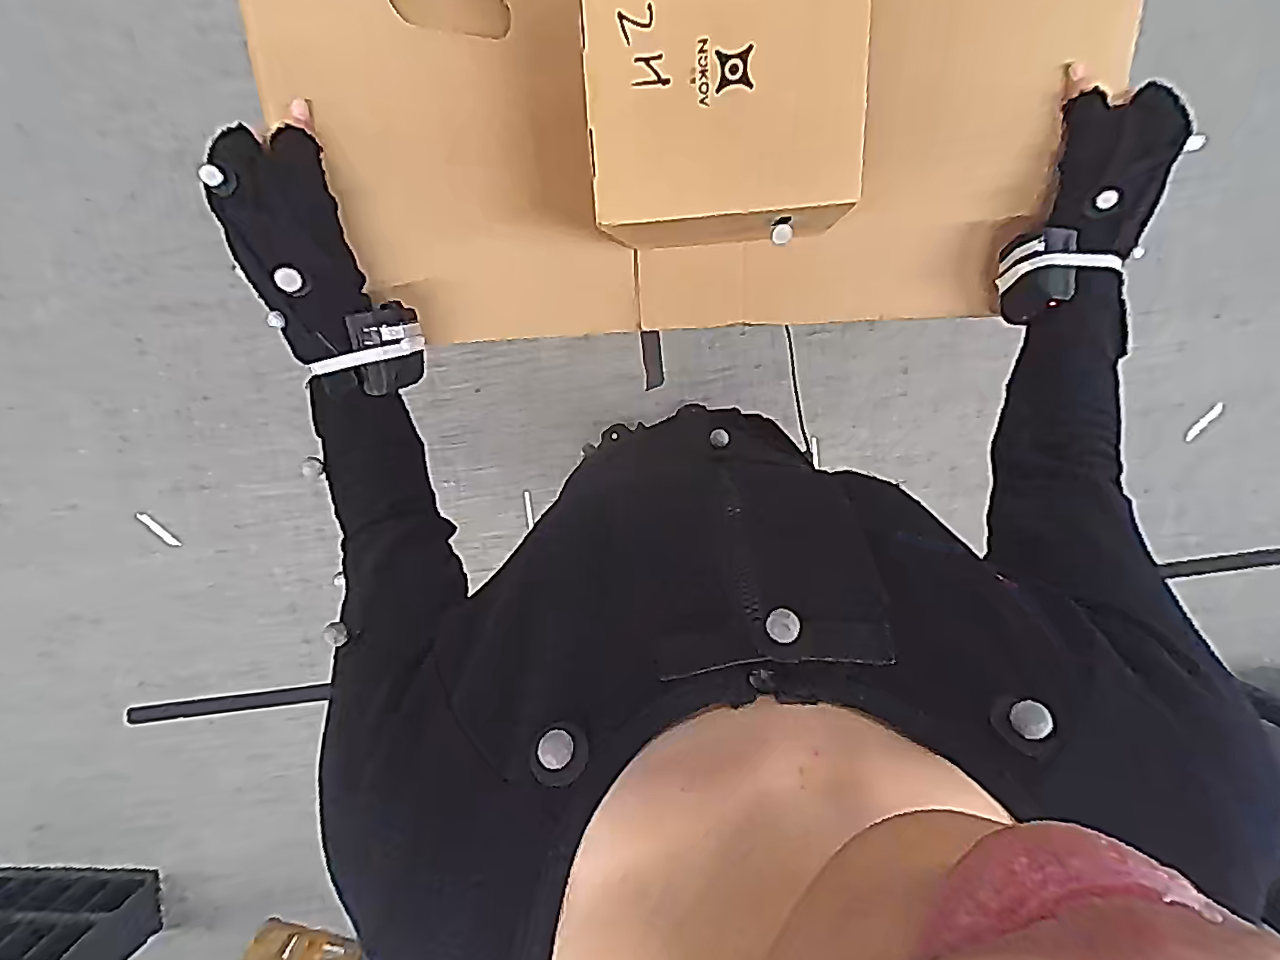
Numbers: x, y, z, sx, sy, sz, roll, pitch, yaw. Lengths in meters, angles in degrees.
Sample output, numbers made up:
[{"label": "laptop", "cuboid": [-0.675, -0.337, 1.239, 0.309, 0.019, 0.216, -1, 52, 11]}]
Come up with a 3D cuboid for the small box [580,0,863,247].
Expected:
[{"label": "small box", "cuboid": [0.063, -0.282, 0.420, 0.179, 0.176, 0.168, 0, 107, 11]}]
